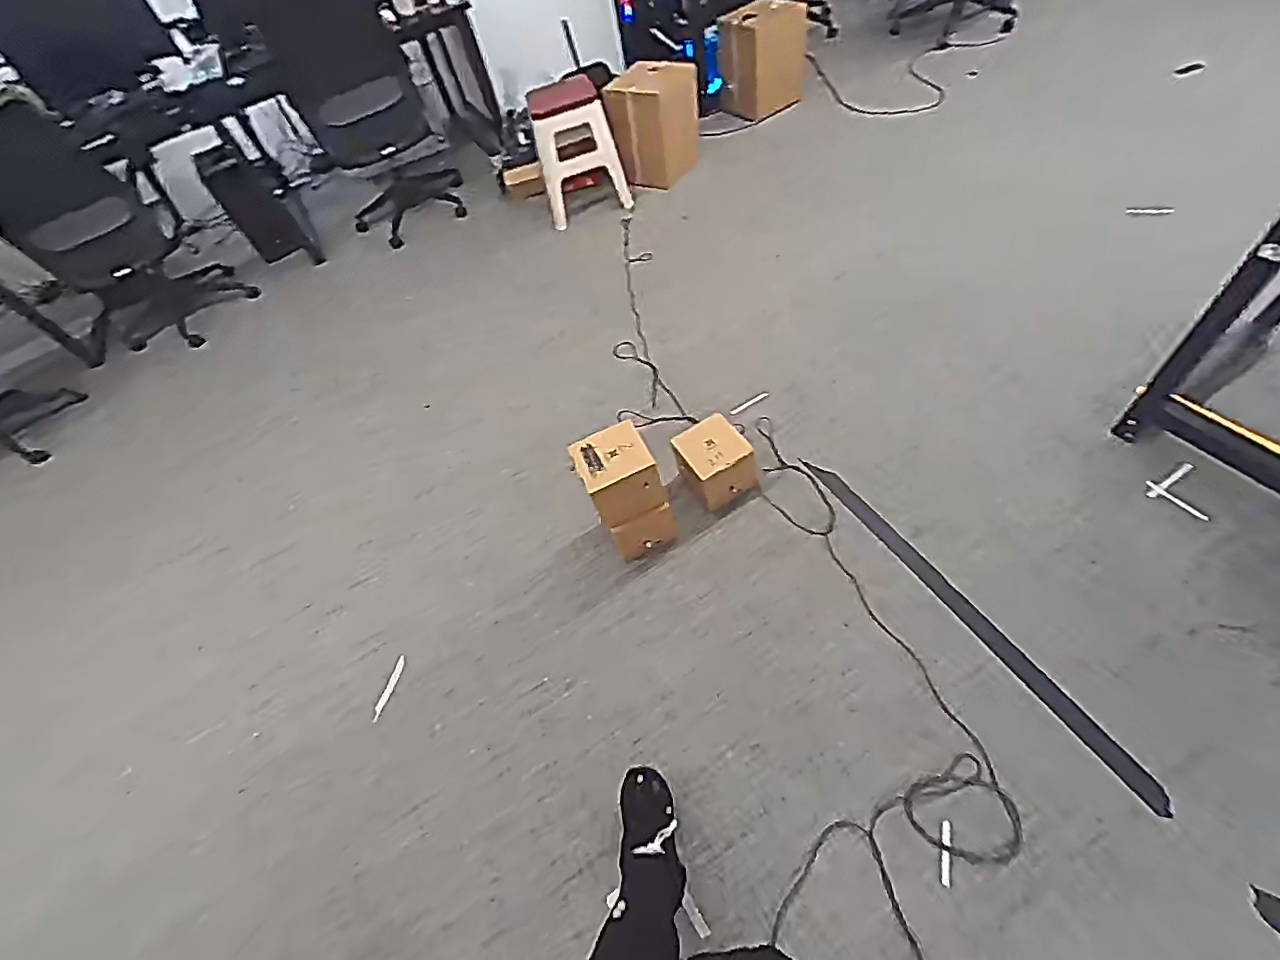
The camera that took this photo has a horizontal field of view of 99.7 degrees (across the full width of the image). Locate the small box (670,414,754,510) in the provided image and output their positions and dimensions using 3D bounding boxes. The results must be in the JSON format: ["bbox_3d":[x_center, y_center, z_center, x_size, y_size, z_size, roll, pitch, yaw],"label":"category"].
[{"bbox_3d":[0.207,-0.048,1.537,0.168,0.176,0.179,-31,55,-7],"label":"small box"}]

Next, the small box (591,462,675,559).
[{"bbox_3d":[-0.016,0.088,1.494,0.168,0.176,0.179,-26,55,-4],"label":"small box"}]
